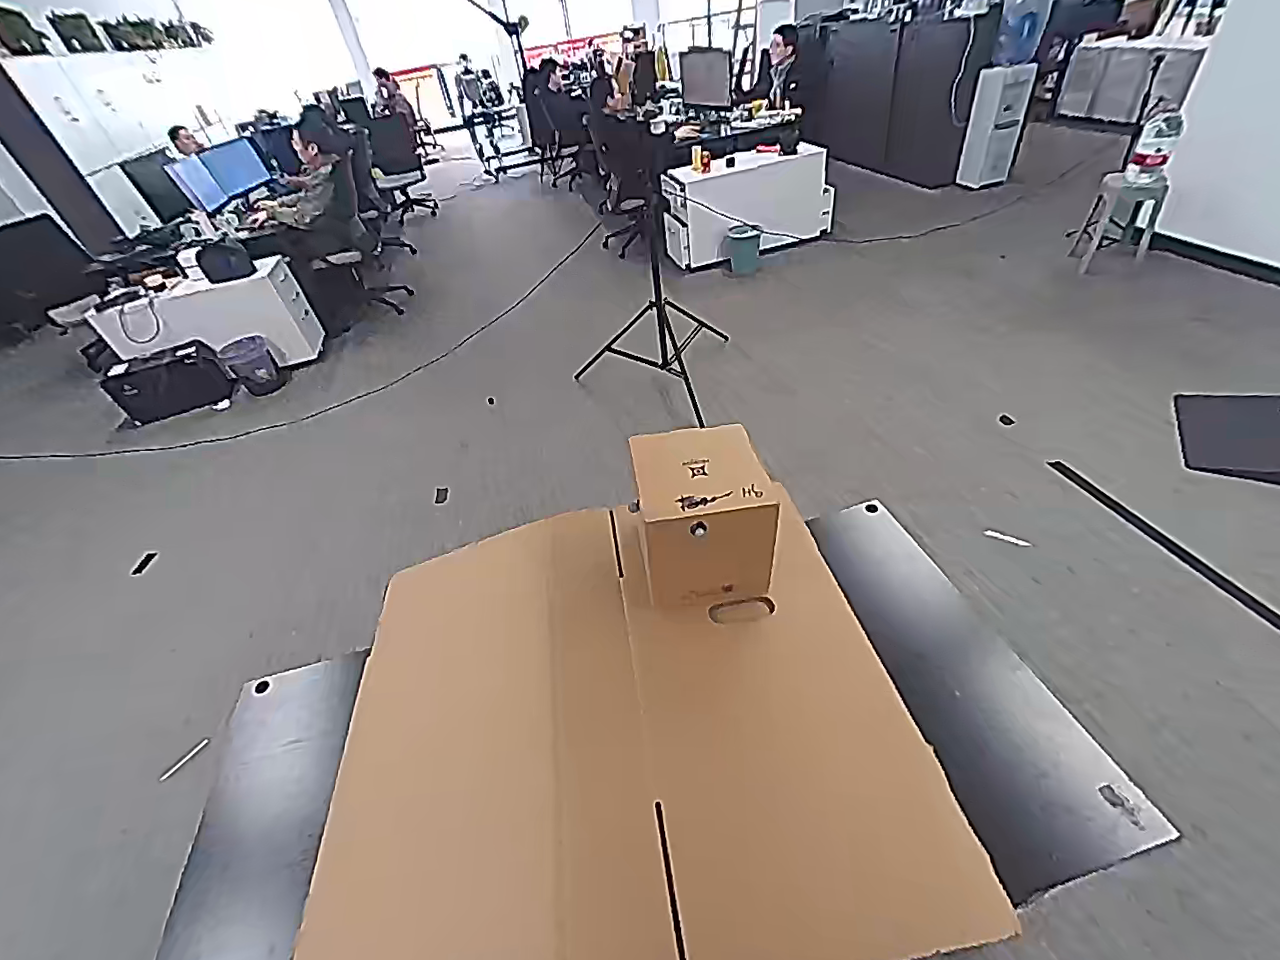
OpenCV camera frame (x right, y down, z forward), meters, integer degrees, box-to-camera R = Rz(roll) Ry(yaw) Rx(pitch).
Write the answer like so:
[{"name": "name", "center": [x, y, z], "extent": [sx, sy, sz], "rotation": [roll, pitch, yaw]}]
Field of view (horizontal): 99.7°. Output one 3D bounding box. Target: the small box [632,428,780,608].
[{"name": "small box", "center": [0.082, 0.051, 0.753], "extent": [0.168, 0.176, 0.179], "rotation": [-8, 39, -3]}]
